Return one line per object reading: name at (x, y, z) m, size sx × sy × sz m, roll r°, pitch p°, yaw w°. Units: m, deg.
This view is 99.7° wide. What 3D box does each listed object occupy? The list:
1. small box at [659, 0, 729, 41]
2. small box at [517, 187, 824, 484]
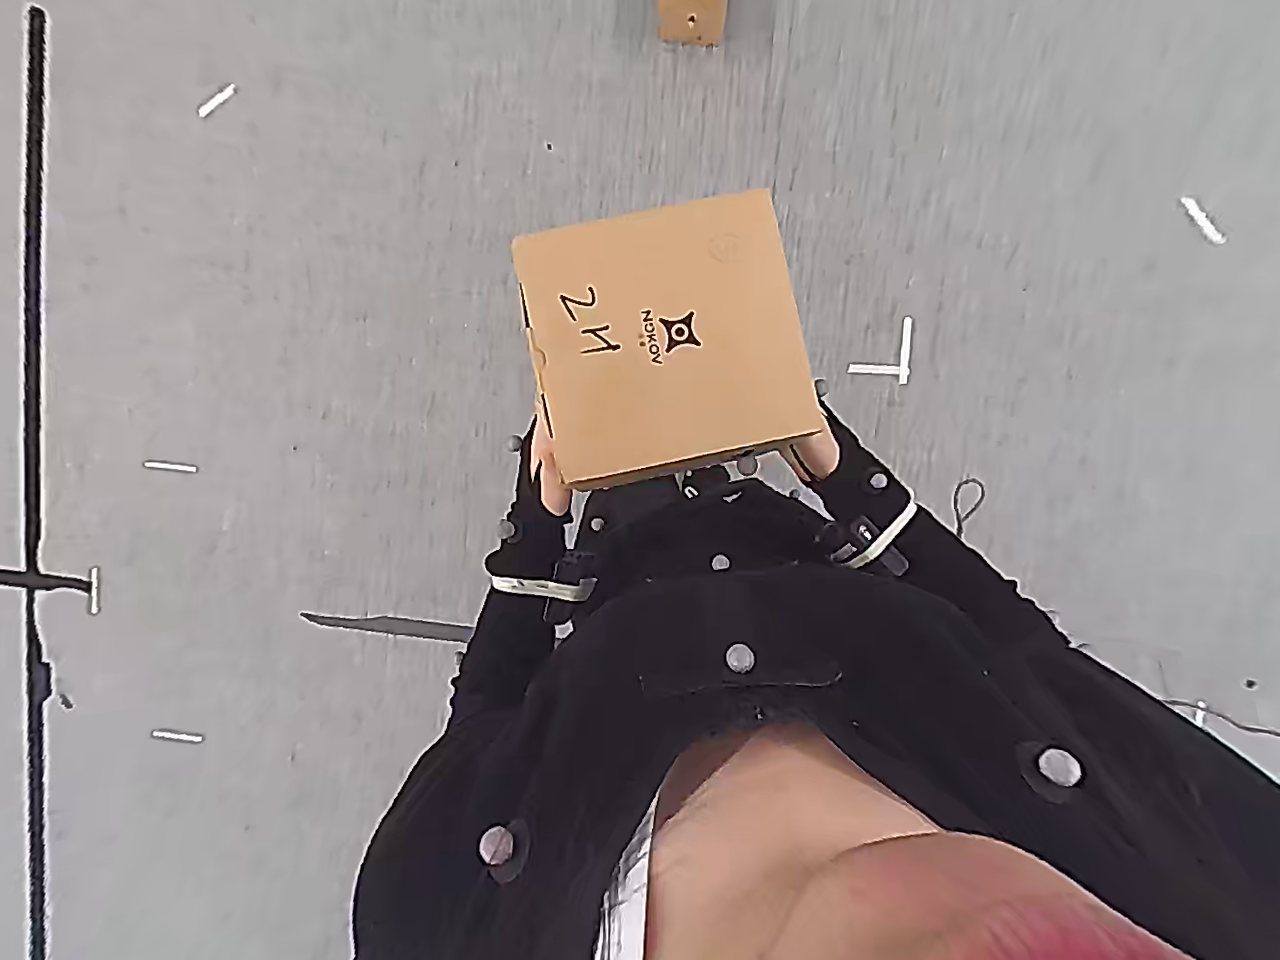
small box at (0.140, -1.215, 1.312) m, size 0.168 × 0.176 × 0.179 m, roll 7°, pitch 95°, yaw 2°
small box at (0.017, -0.093, 0.427) m, size 0.179 × 0.176 × 0.168 m, roll -12°, pitch 87°, yaw -2°
